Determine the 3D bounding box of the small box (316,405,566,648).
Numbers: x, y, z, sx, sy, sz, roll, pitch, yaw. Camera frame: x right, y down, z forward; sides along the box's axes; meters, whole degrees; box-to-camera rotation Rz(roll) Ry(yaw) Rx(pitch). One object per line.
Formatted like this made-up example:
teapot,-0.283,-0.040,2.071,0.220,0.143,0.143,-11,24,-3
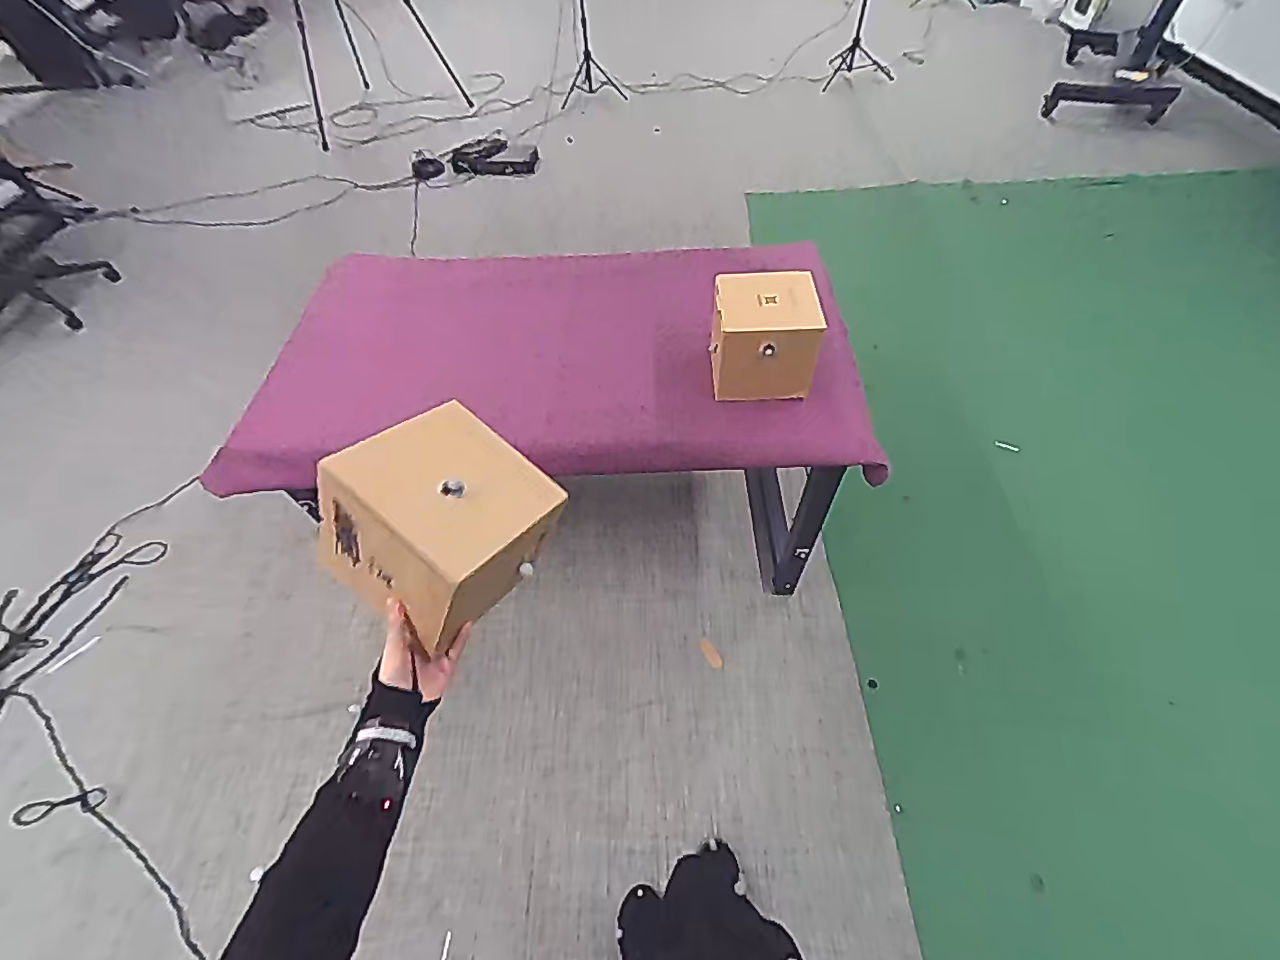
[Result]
small box,-0.215,0.038,0.592,0.179,0.168,0.176,39,40,7

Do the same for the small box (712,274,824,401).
small box,0.226,-0.262,1.007,0.179,0.176,0.168,0,54,3
